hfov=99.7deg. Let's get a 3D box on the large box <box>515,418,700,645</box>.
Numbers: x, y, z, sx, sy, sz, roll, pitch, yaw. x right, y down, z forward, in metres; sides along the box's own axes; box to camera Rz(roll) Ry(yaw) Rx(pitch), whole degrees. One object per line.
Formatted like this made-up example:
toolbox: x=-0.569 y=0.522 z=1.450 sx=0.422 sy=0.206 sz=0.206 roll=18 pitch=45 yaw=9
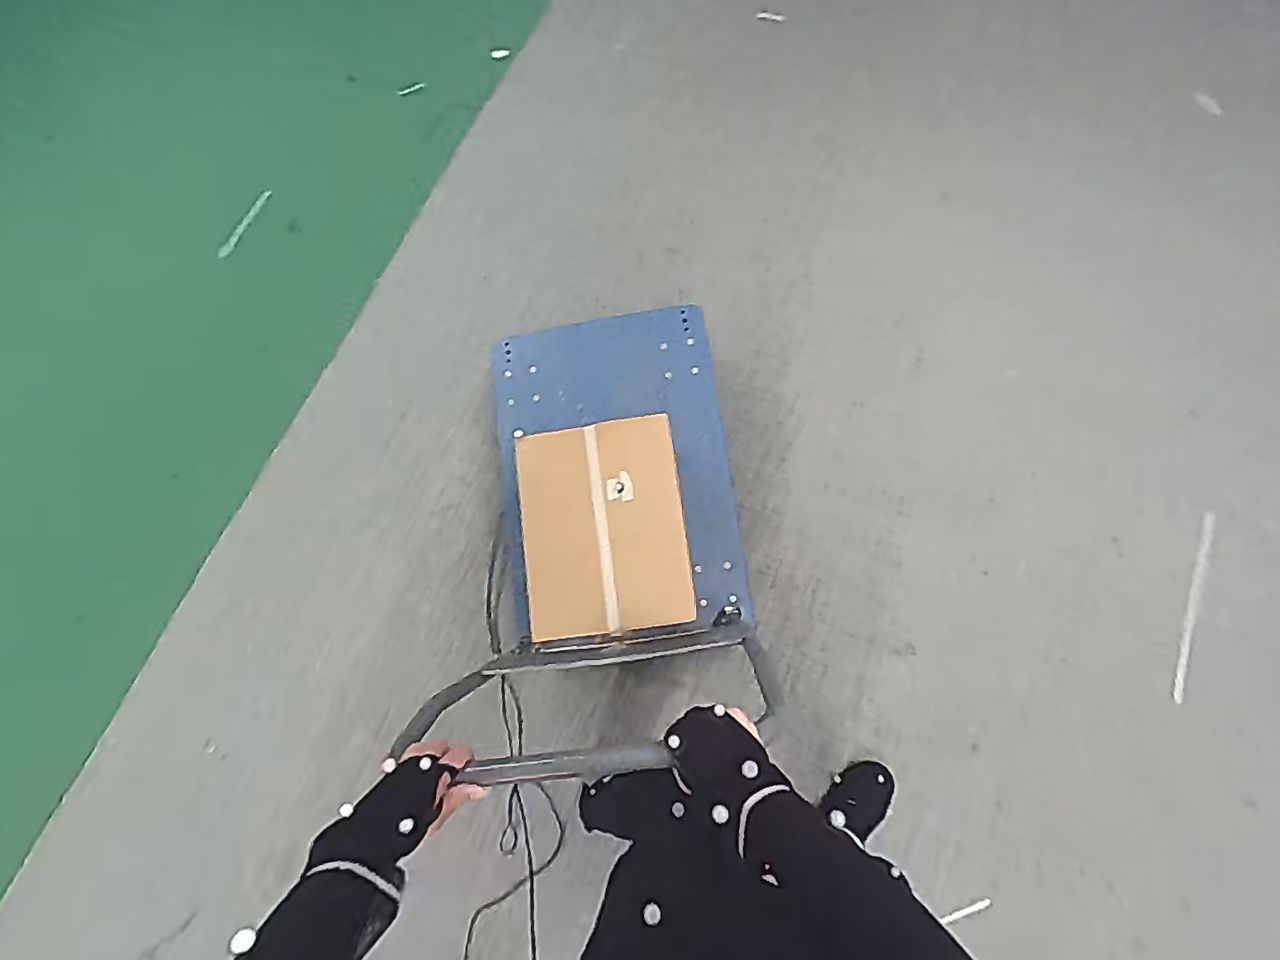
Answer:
large box: x=-0.055 y=0.122 z=1.186 sx=0.320 sy=0.320 sz=0.408 roll=-10 pitch=78 yaw=4
